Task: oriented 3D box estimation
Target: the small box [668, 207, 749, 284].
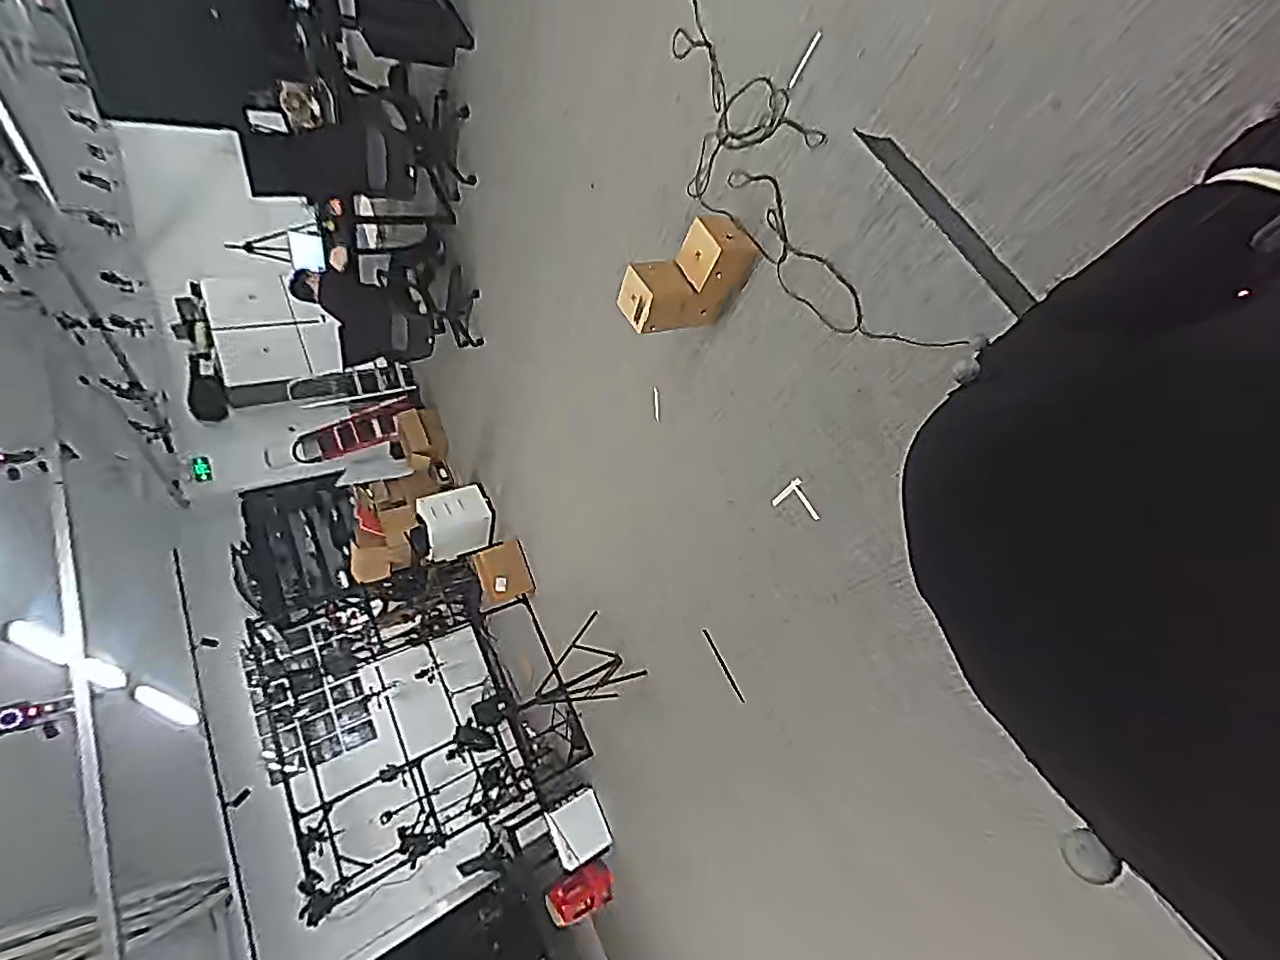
[{"bbox_3d":[0.219,-0.756,1.752,0.168,0.176,0.179,-13,104,46],"label":"small box"}]
